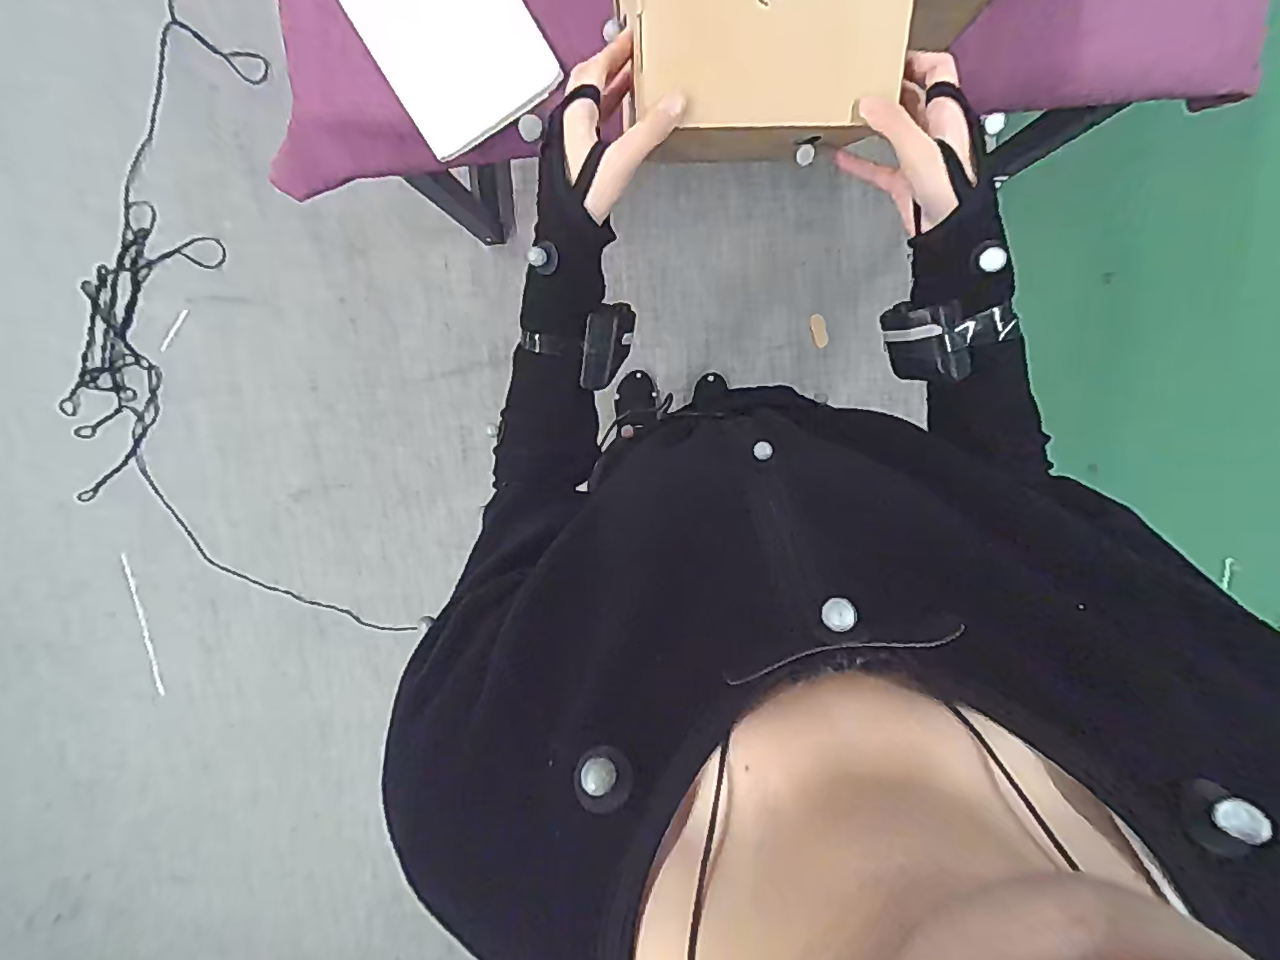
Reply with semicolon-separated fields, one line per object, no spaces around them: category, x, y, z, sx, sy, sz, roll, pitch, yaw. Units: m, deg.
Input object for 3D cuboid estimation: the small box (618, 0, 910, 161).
small box;0.076;-0.342;0.396;0.179;0.176;0.168;-3;113;-4
